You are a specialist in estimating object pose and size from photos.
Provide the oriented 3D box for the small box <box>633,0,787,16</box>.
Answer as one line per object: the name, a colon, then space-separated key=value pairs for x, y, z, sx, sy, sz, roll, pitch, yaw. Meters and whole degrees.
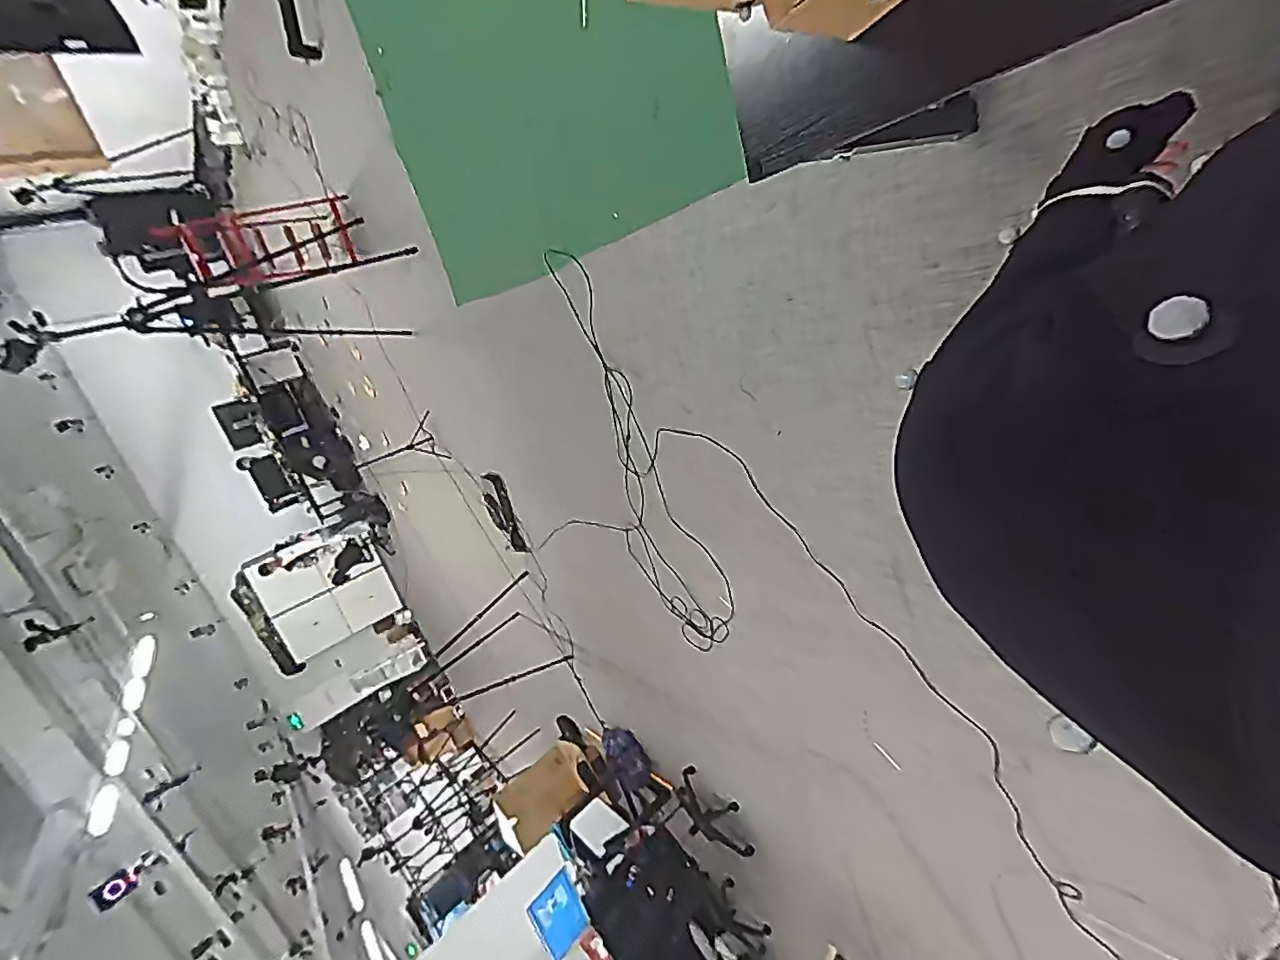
small box: x=0.097 y=-0.512 z=0.442 sx=0.168 sy=0.176 sz=0.179 roll=21 pitch=129 yaw=43

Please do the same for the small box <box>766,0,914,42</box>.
small box: x=0.218 y=-0.578 z=0.533 sx=0.168 sy=0.176 sz=0.179 roll=-7 pitch=109 yaw=53
